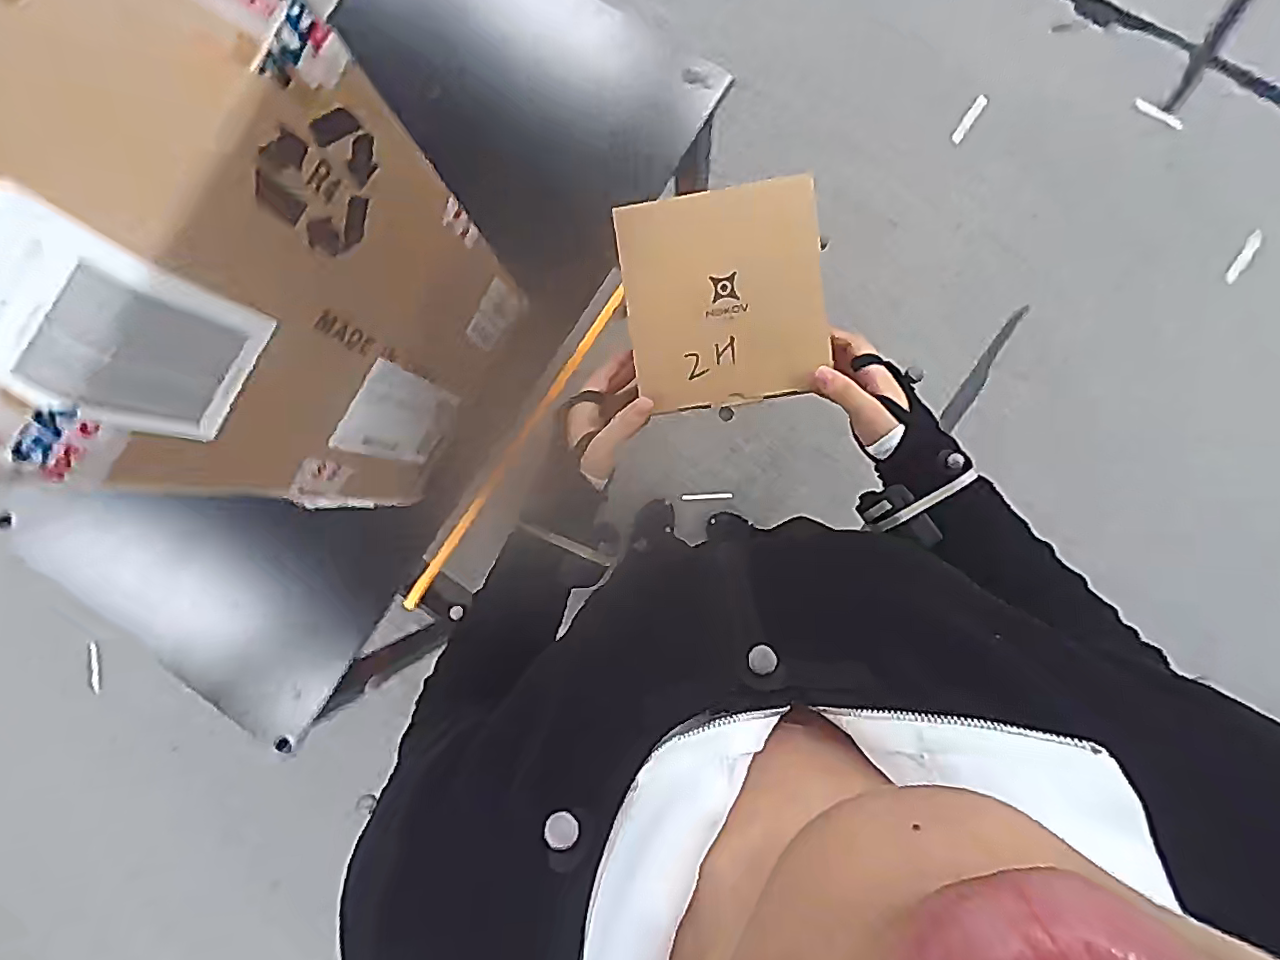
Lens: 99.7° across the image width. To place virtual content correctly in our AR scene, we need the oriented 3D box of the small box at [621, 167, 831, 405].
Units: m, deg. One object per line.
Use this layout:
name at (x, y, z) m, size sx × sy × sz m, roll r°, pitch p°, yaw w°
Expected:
small box at (0.077, -0.170, 0.532) m, size 0.168 × 0.176 × 0.179 m, roll -6°, pitch 97°, yaw 6°
